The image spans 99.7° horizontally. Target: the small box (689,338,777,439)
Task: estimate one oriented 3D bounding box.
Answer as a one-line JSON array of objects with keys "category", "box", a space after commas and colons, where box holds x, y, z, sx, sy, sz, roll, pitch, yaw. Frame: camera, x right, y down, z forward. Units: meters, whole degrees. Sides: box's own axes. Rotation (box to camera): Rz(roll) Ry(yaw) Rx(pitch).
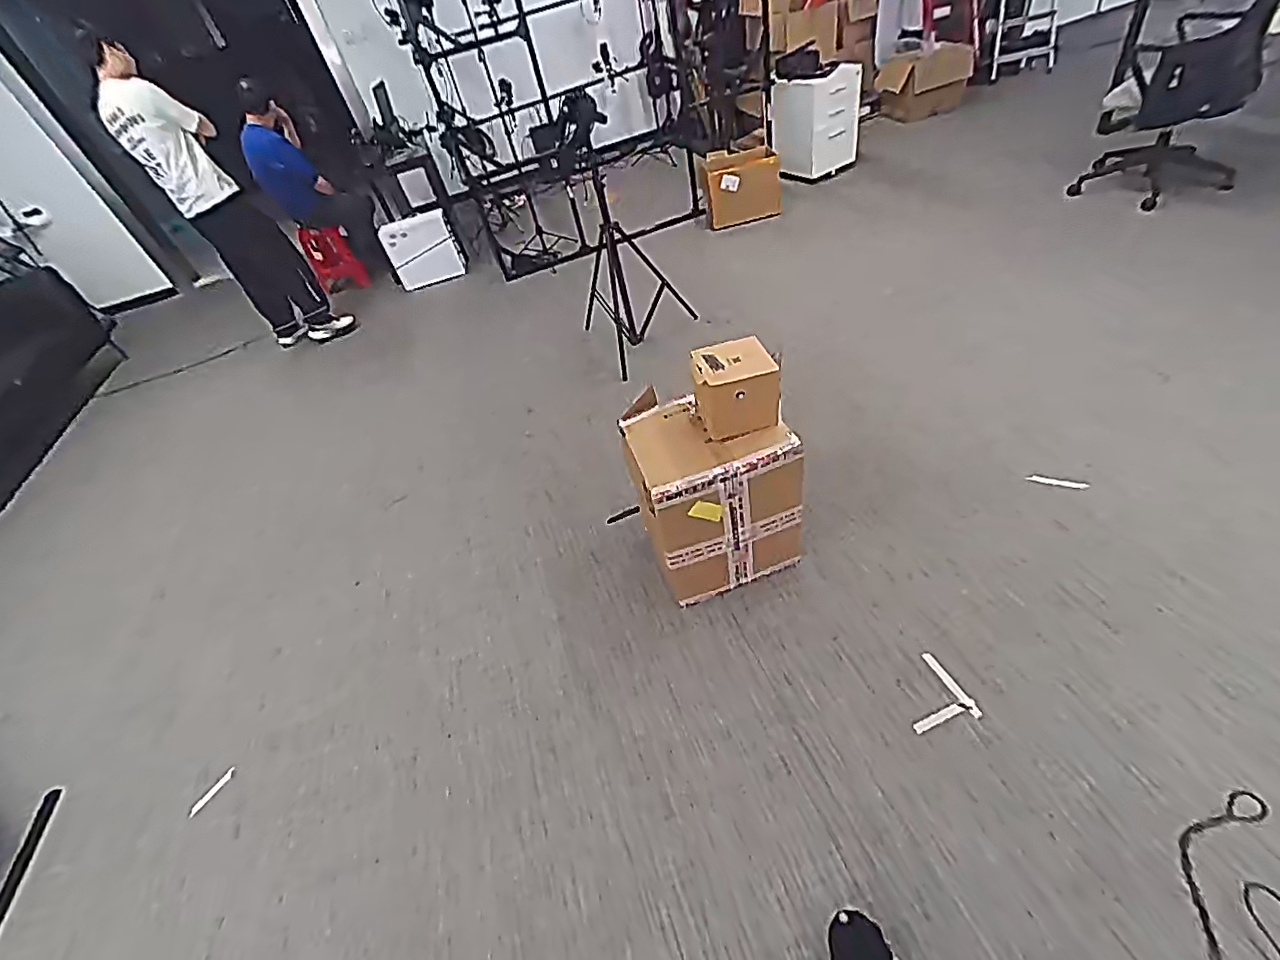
[{"category": "small box", "box": [0.234, -0.226, 1.361, 0.179, 0.176, 0.168, -15, 45, -3]}]
